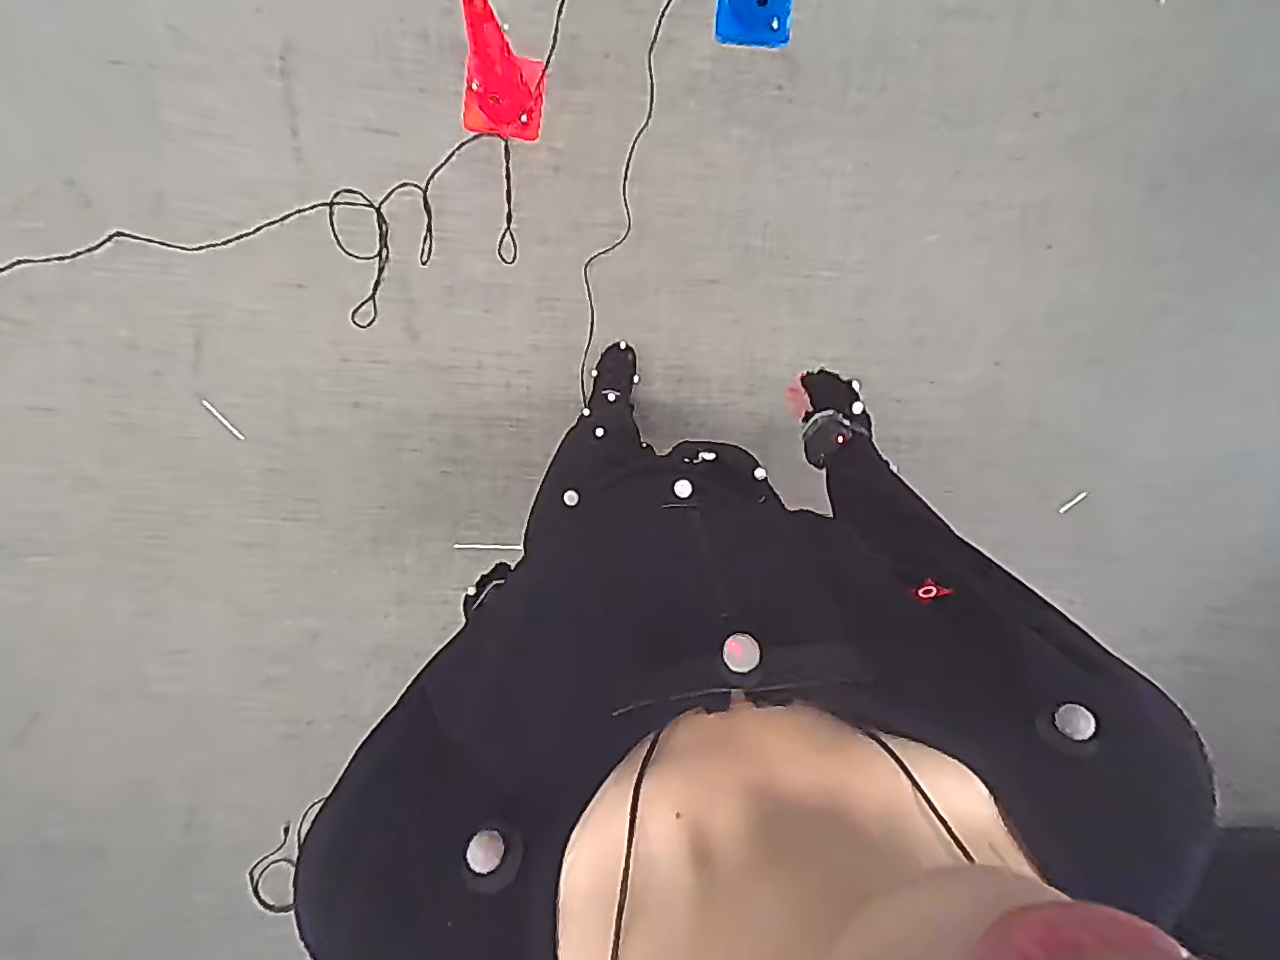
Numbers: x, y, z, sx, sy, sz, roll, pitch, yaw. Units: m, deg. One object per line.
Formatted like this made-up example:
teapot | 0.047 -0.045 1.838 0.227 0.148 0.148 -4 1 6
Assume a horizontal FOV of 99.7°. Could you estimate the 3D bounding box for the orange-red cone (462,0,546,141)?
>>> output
orange-red cone | -0.337 -0.973 1.216 0.198 0.360 0.199 8 94 -4
